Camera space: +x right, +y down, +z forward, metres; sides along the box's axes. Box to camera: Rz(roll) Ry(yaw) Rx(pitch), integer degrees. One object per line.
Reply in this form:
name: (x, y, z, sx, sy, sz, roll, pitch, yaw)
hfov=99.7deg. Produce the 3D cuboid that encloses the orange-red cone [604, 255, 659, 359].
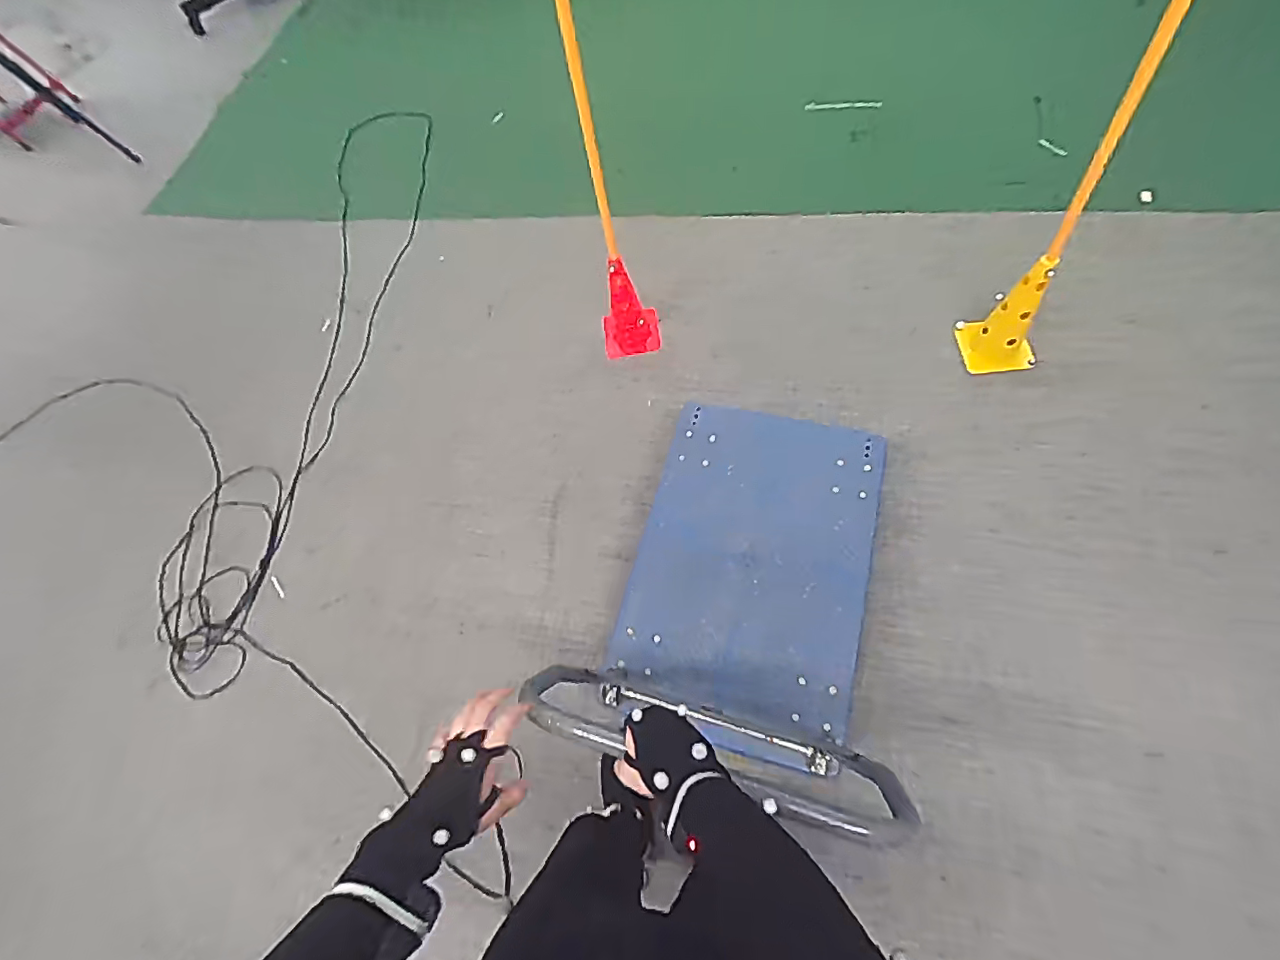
orange-red cone: (-0.061, -0.600, 1.805, 0.199, 0.360, 0.198, -9, 64, 7)
